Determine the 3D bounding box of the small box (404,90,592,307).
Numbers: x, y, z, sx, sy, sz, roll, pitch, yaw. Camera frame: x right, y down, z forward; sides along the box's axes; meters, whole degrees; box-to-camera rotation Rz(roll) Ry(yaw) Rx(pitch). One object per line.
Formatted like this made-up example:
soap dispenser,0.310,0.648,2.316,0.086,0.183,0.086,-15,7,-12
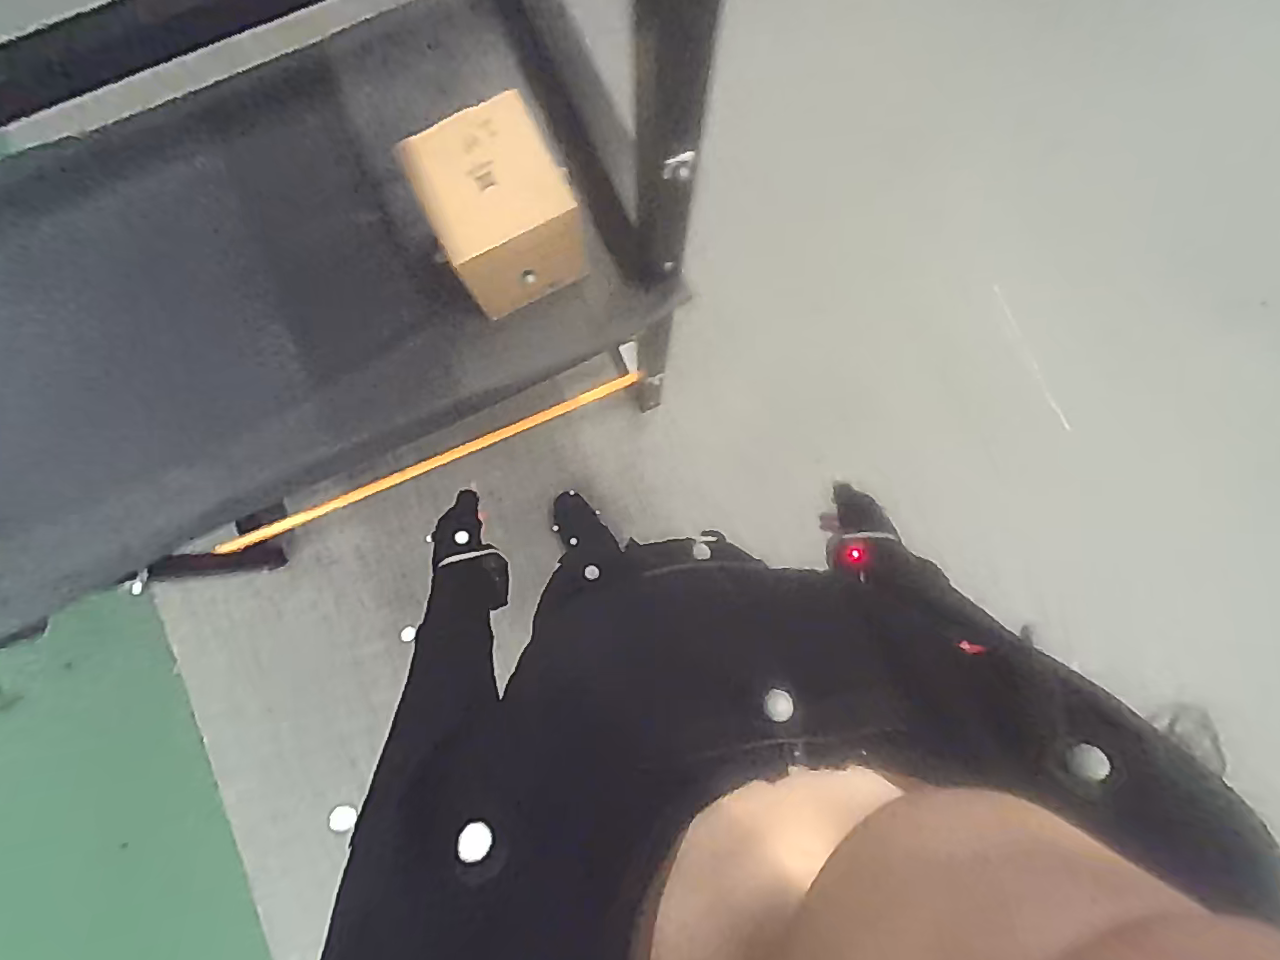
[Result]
small box,-0.176,-0.358,0.729,0.168,0.176,0.179,-27,85,-2
